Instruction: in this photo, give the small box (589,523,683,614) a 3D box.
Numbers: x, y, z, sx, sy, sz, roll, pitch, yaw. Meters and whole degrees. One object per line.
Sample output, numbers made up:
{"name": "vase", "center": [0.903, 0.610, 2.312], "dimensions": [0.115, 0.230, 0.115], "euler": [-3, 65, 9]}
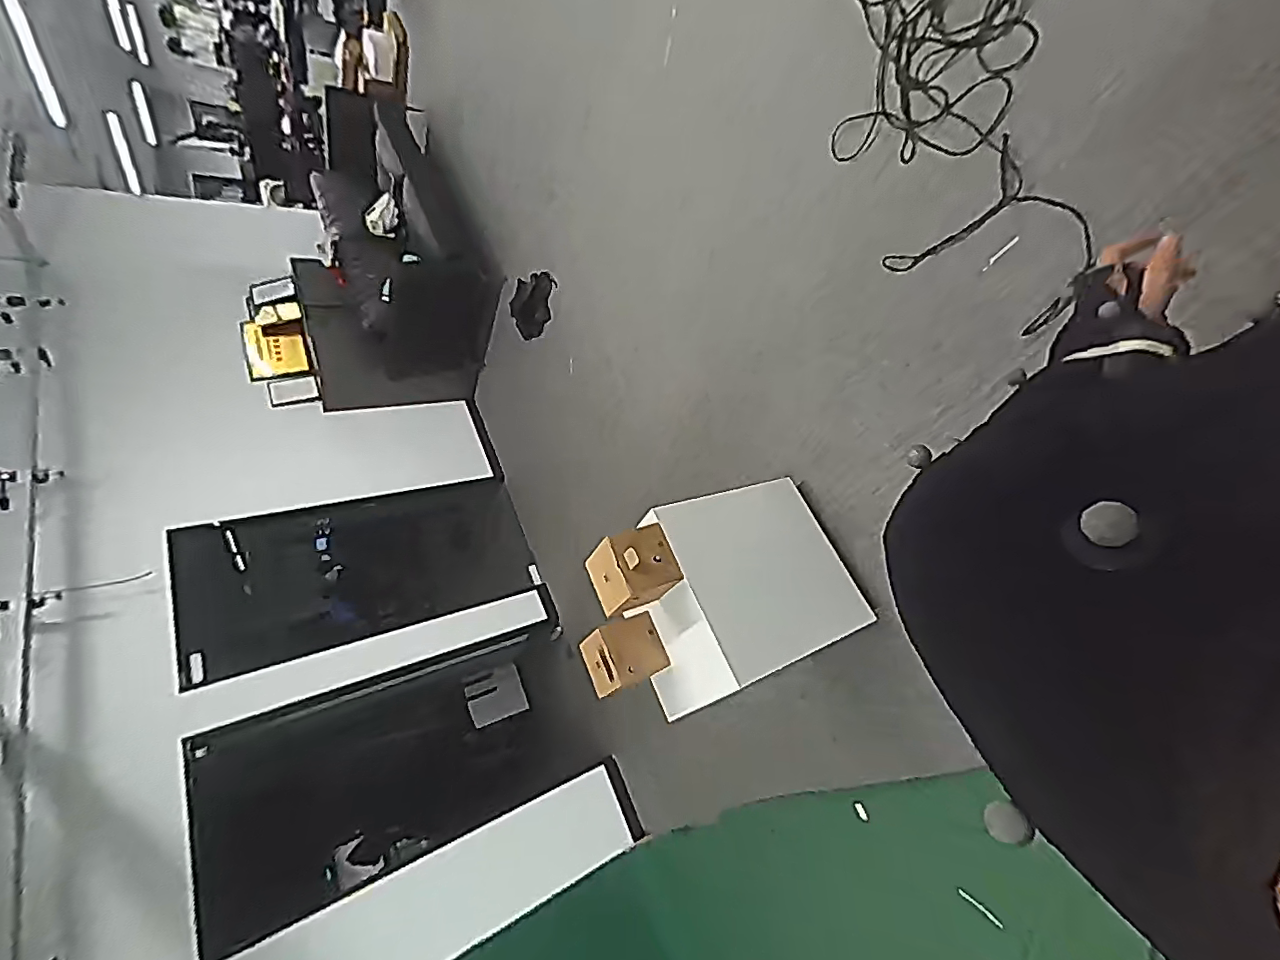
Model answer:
{"name": "small box", "center": [-0.012, 0.234, 1.438], "dimensions": [0.168, 0.176, 0.179], "euler": [65, 145, 22]}
